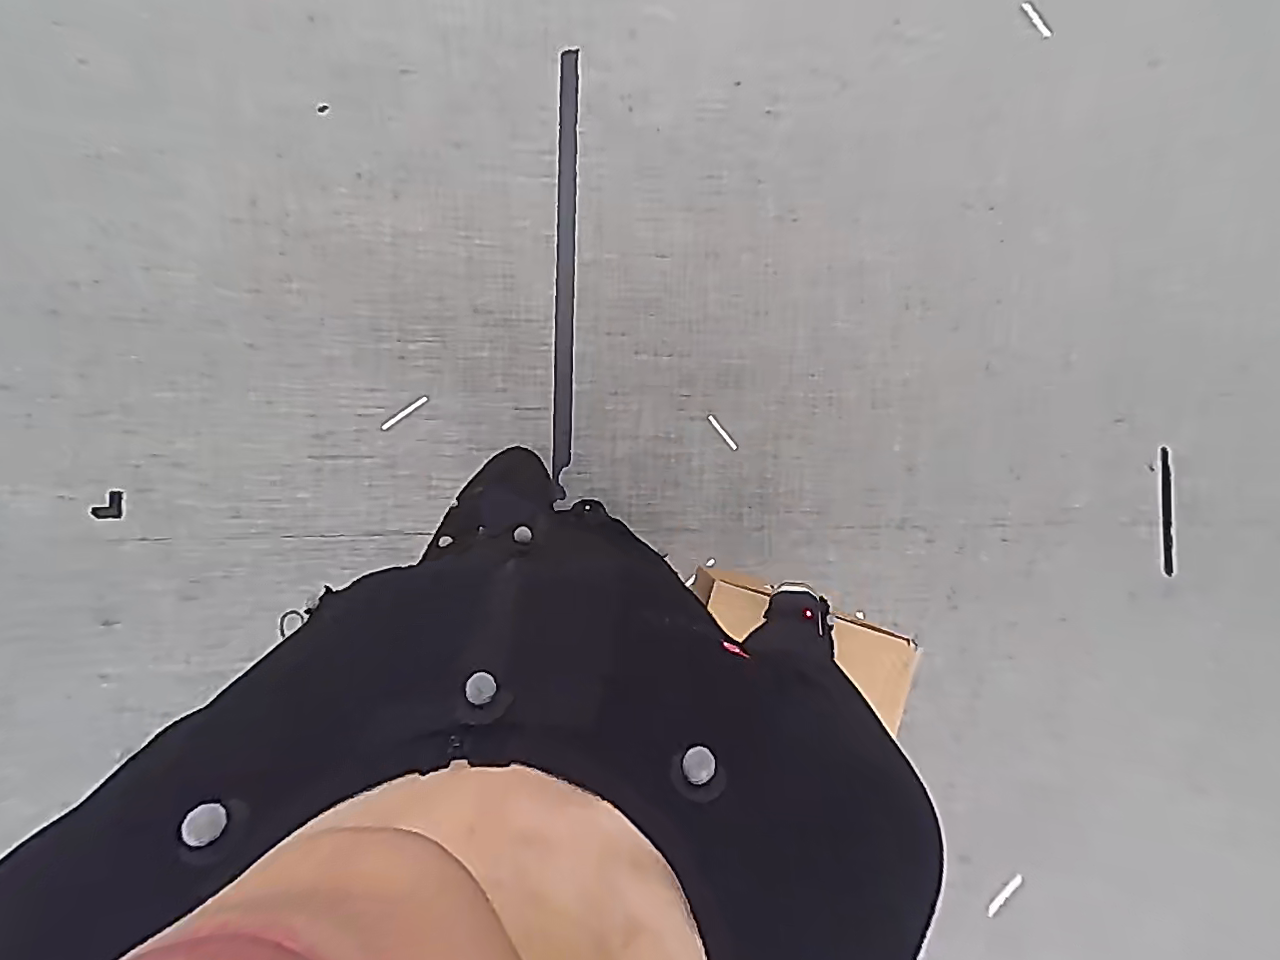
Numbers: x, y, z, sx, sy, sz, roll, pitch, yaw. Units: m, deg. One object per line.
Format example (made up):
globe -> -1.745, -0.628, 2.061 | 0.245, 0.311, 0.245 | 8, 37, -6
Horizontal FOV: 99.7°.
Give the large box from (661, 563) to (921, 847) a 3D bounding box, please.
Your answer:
large box -> 0.228, 0.356, 0.982 | 0.320, 0.408, 0.320 | 16, 86, 4
